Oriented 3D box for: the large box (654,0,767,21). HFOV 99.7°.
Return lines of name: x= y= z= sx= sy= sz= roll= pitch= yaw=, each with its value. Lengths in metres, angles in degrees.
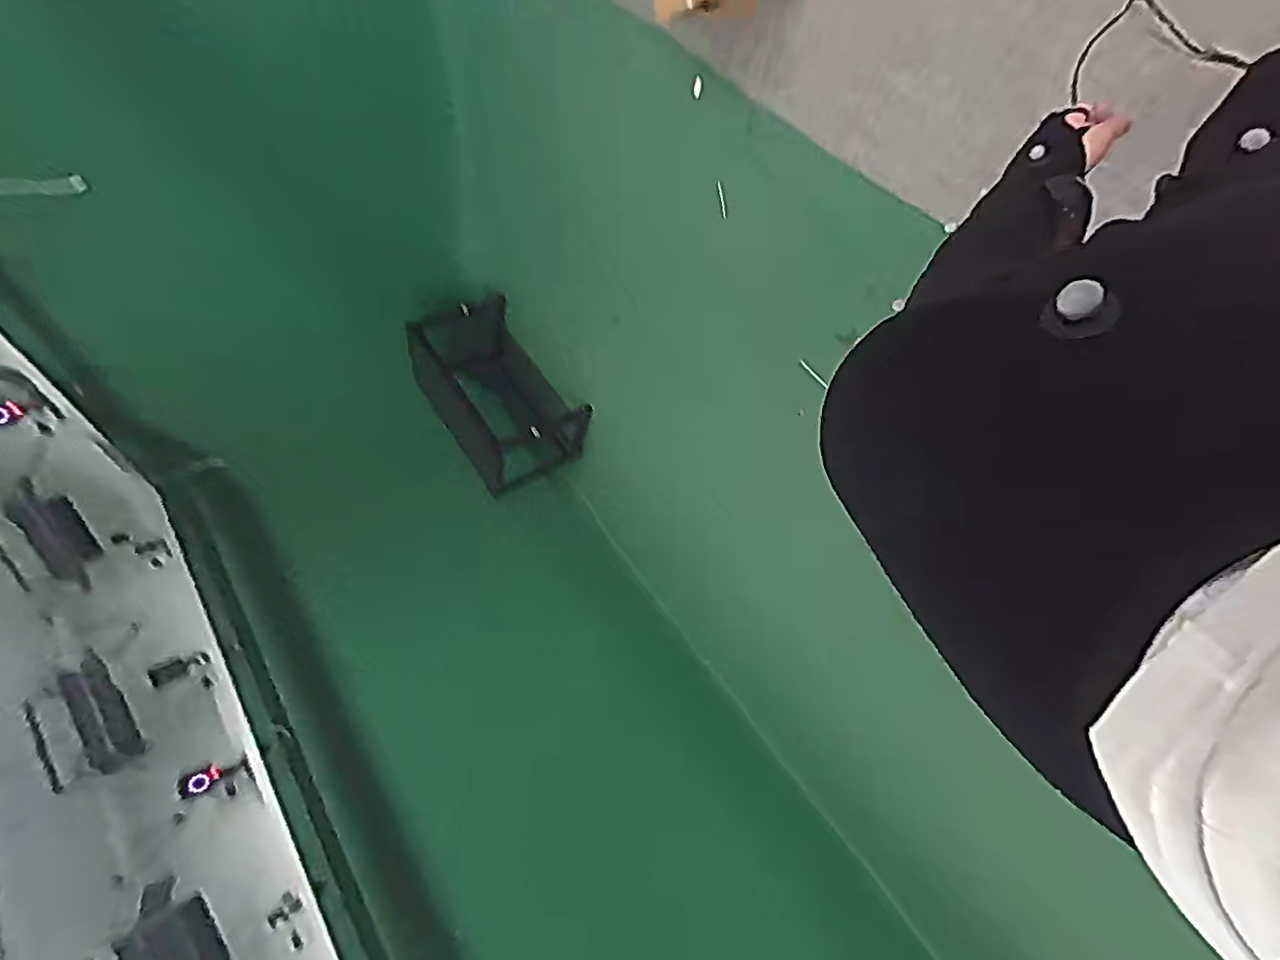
large box: x=0.220 y=-1.523 z=1.434 sx=0.320 sy=0.320 sz=0.408 roll=27 pitch=138 yaw=47
